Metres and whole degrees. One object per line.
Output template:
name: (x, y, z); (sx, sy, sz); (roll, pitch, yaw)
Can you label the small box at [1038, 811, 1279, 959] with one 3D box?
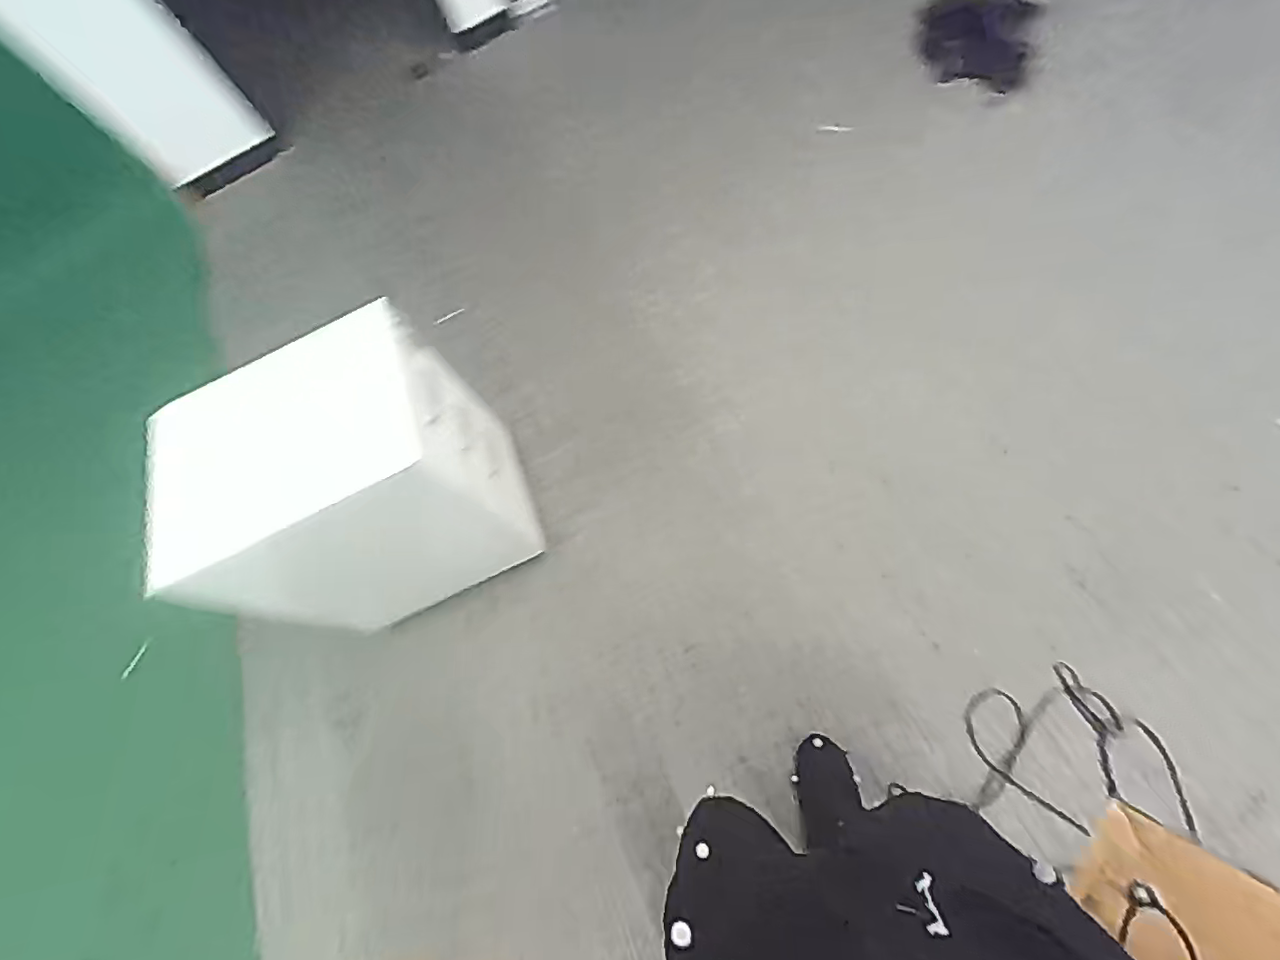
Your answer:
small box: (0.543, 0.465, 0.523); (0.168, 0.179, 0.176); (-56, 23, -4)
